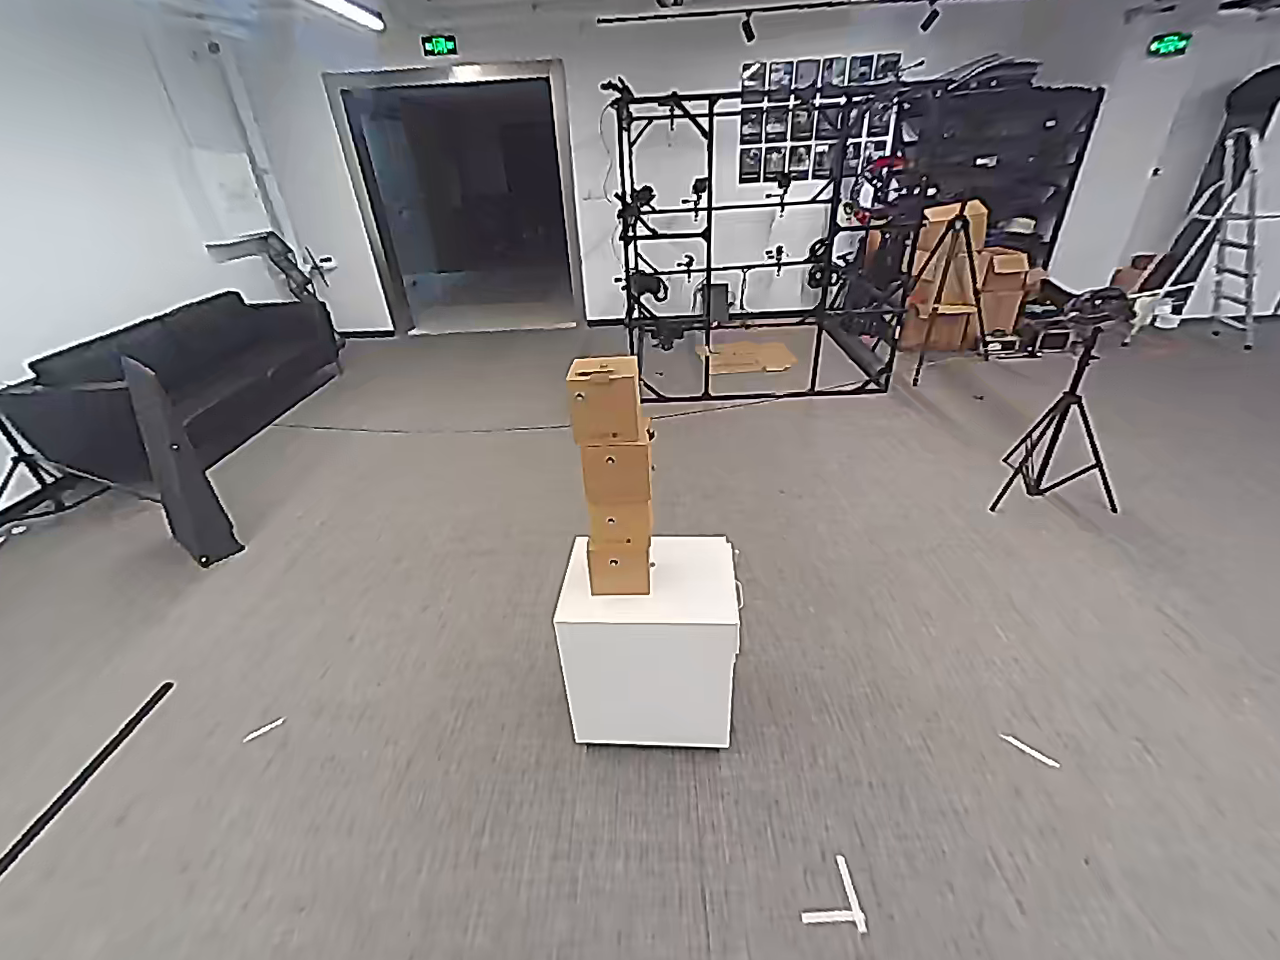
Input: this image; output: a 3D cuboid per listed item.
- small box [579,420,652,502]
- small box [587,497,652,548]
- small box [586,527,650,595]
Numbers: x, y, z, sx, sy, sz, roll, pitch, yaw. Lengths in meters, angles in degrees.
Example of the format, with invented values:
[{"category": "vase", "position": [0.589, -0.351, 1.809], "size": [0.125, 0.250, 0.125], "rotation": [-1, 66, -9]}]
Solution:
[{"category": "small box", "position": [-0.059, -0.051, 1.449], "size": [0.179, 0.176, 0.168], "rotation": [-1, 31, 3]}, {"category": "small box", "position": [-0.053, 0.082, 1.549], "size": [0.168, 0.176, 0.179], "rotation": [-1, 30, 3]}, {"category": "small box", "position": [-0.060, 0.228, 1.620], "size": [0.179, 0.176, 0.168], "rotation": [-1, 31, 2]}]
